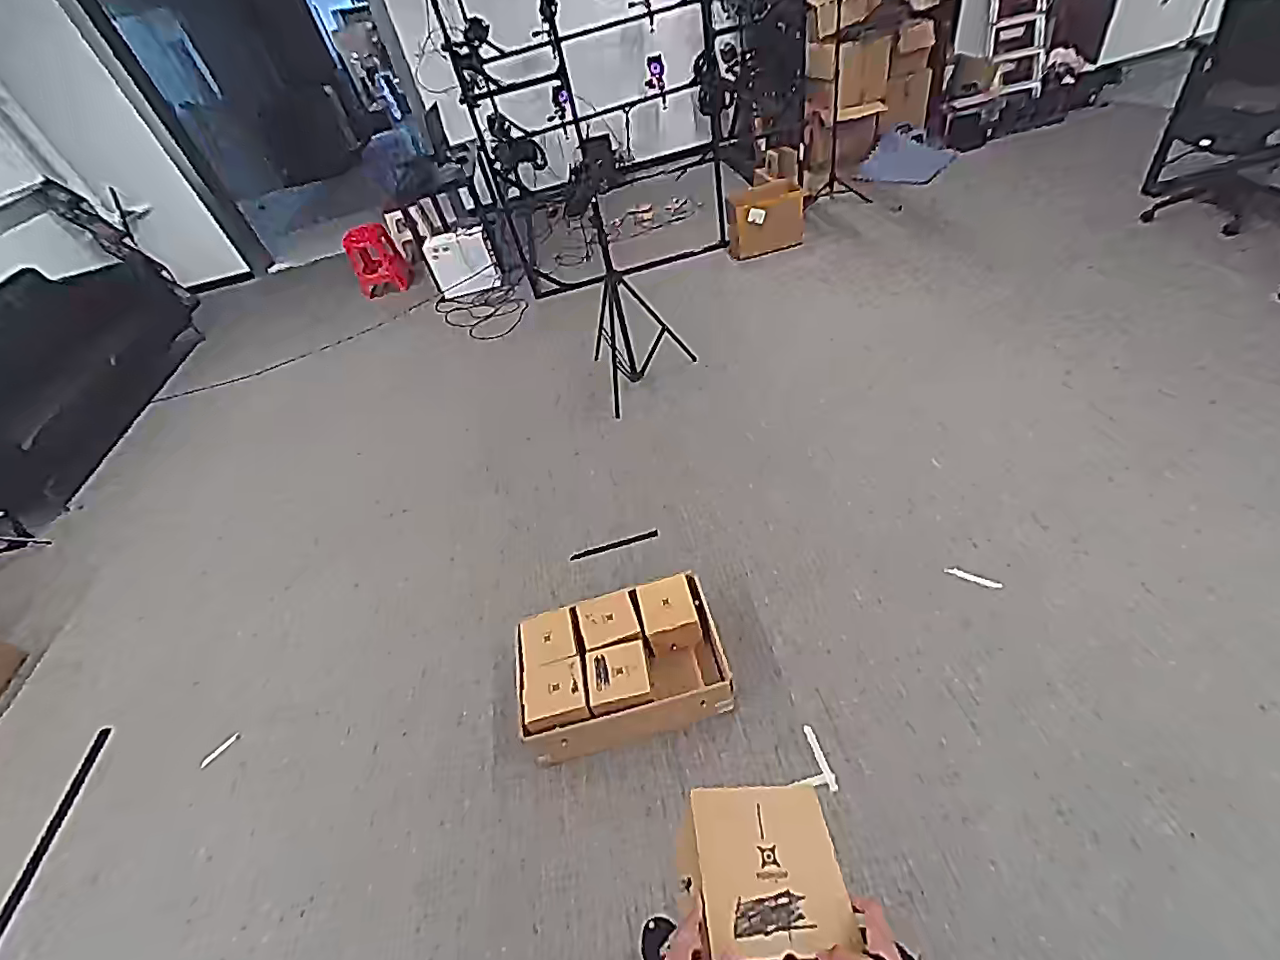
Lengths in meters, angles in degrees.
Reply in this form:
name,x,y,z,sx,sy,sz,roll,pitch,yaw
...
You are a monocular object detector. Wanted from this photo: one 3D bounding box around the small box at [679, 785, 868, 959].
name,x,y,z,sx,sy,sz,roll,pitch,yaw
small box,0.143,0.501,0.655,0.168,0.176,0.179,2,34,-5
